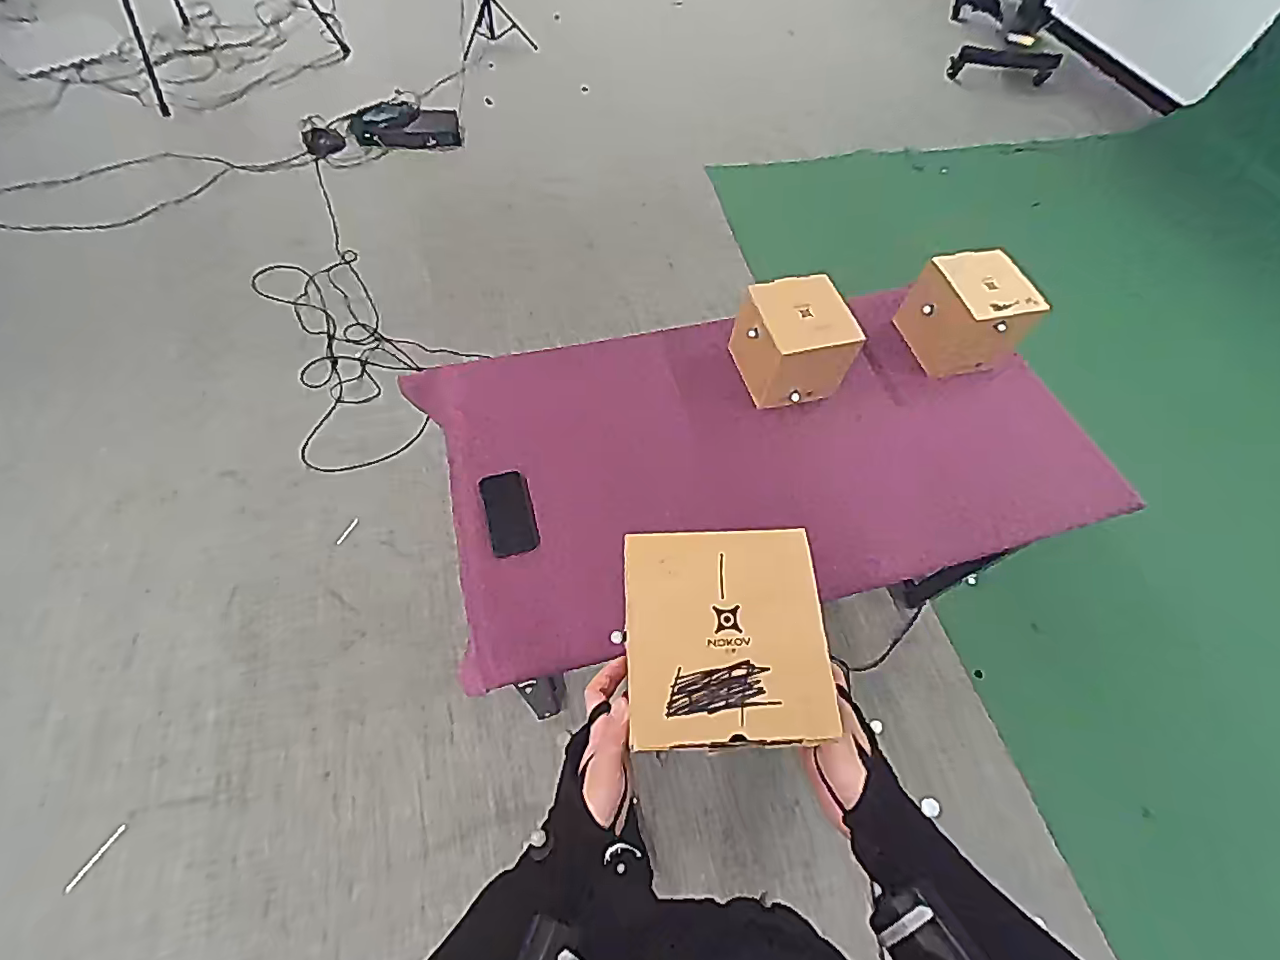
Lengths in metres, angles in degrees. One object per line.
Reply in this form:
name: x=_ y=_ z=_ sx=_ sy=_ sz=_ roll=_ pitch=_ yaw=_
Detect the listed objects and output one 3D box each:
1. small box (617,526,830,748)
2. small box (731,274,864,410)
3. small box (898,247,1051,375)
small box: x=0.064 y=0.155 z=0.522 sx=0.168 sy=0.176 sz=0.179 roll=-2 pitch=65 yaw=-2
small box: x=0.289 y=-0.263 z=1.041 sx=0.168 sy=0.176 sz=0.179 roll=-12 pitch=62 yaw=-9
small box: x=0.666 y=-0.343 z=1.106 sx=0.168 sy=0.176 sz=0.179 roll=-12 pitch=61 yaw=-9
